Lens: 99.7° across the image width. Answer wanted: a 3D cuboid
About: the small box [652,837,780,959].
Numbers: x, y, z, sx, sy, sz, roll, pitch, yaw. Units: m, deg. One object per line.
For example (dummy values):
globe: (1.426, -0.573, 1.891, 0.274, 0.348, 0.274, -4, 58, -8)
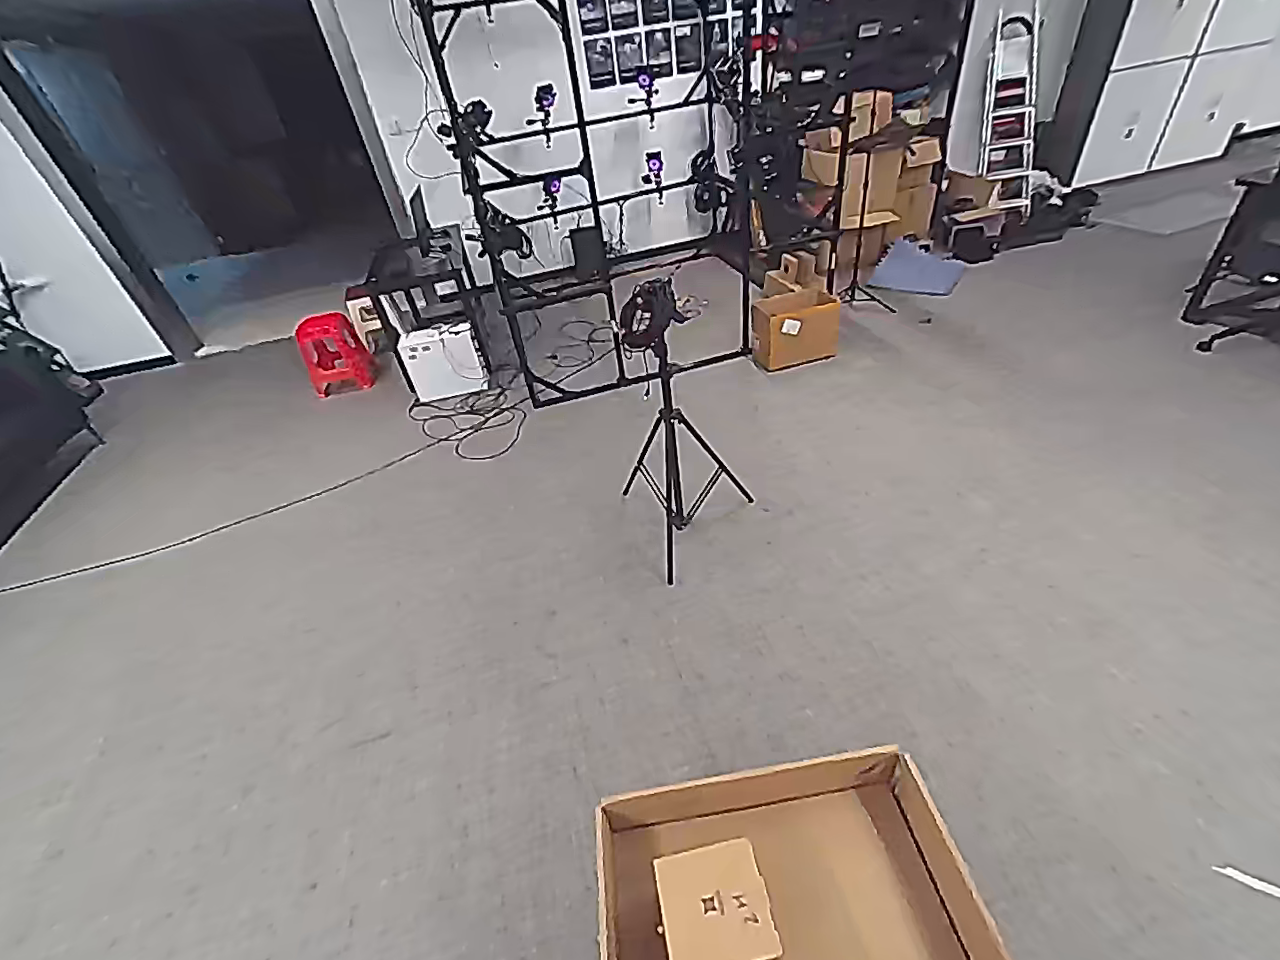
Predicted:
small box: (0.128, 0.751, 0.927, 0.179, 0.176, 0.168, -11, 38, -4)
